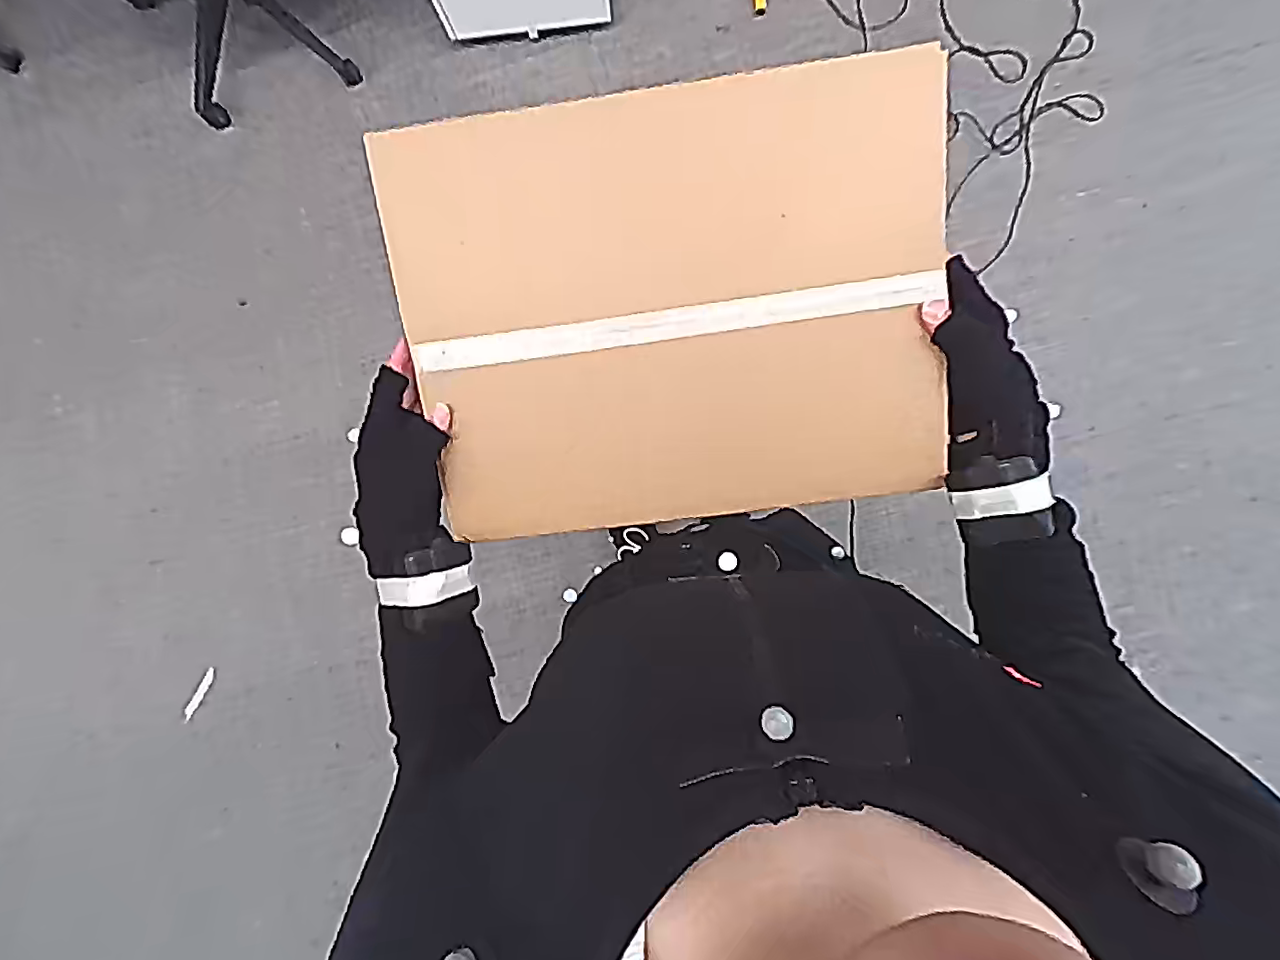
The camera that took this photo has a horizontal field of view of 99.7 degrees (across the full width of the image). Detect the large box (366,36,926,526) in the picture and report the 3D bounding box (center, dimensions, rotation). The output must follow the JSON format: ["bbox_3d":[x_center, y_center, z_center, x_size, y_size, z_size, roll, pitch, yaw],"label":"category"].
[{"bbox_3d":[0.021,-0.170,0.558,0.408,0.320,0.320,-7,104,3],"label":"large box"}]
